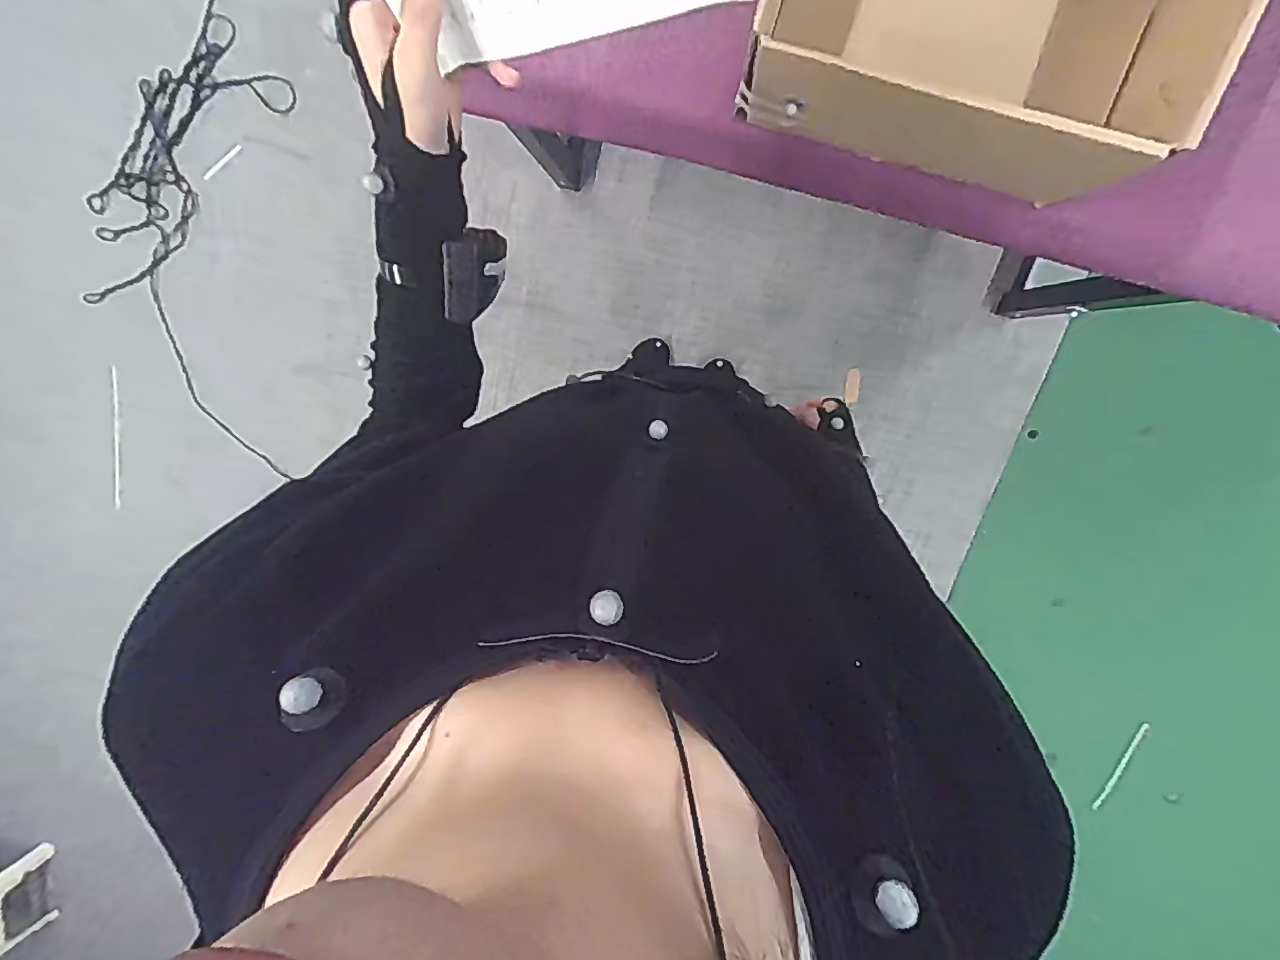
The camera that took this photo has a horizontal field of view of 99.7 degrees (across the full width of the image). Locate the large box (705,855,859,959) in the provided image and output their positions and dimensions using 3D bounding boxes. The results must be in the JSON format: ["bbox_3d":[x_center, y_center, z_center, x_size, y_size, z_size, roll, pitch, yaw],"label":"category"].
[{"bbox_3d":[0.405,1.406,1.642,0.408,0.320,0.320,1,104,4],"label":"large box"}]
